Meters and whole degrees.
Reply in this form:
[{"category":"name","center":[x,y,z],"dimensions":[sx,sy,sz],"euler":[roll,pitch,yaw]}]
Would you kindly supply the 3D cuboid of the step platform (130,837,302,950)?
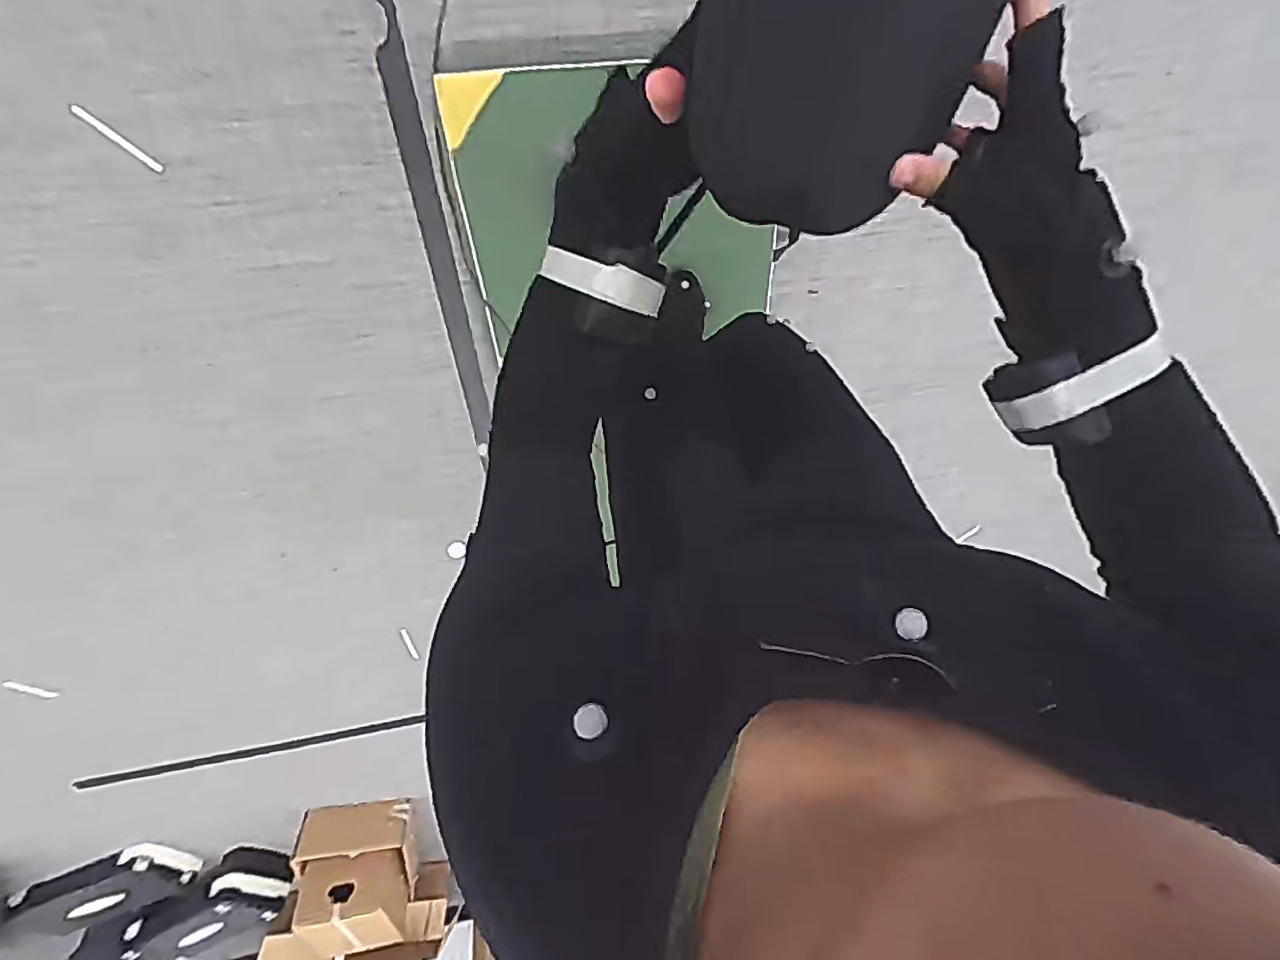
[{"category":"step platform","center":[-1.822,1.790,2.329],"dimensions":[0.684,0.204,0.286],"euler":[-32,127,11]}]
